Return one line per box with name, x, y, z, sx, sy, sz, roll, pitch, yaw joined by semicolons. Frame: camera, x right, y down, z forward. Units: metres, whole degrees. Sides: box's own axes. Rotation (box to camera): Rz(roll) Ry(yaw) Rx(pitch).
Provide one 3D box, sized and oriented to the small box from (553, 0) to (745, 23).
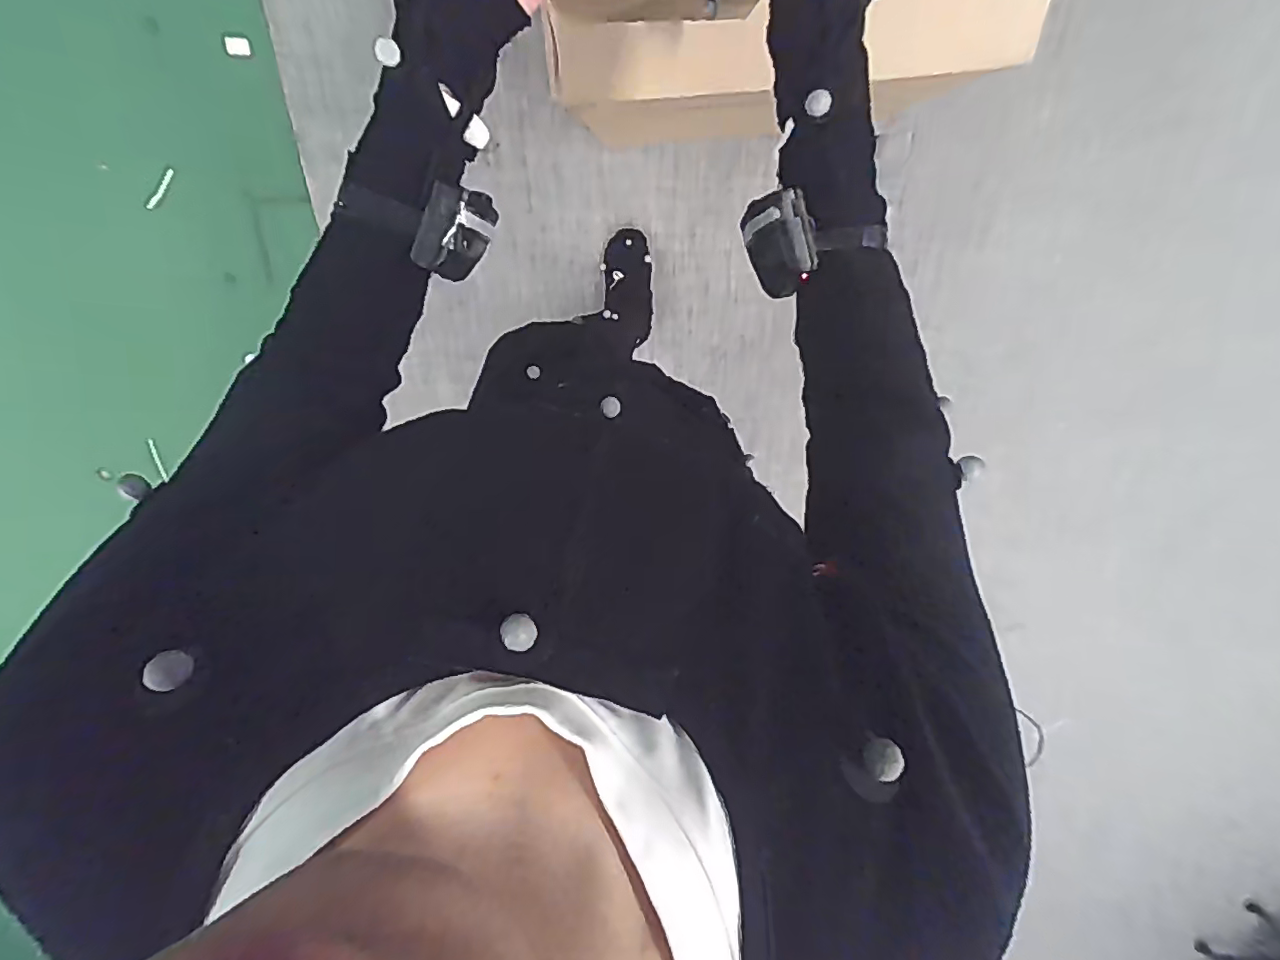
small box;0.010;-0.464;0.400;0.179;0.176;0.168;-1;119;3
